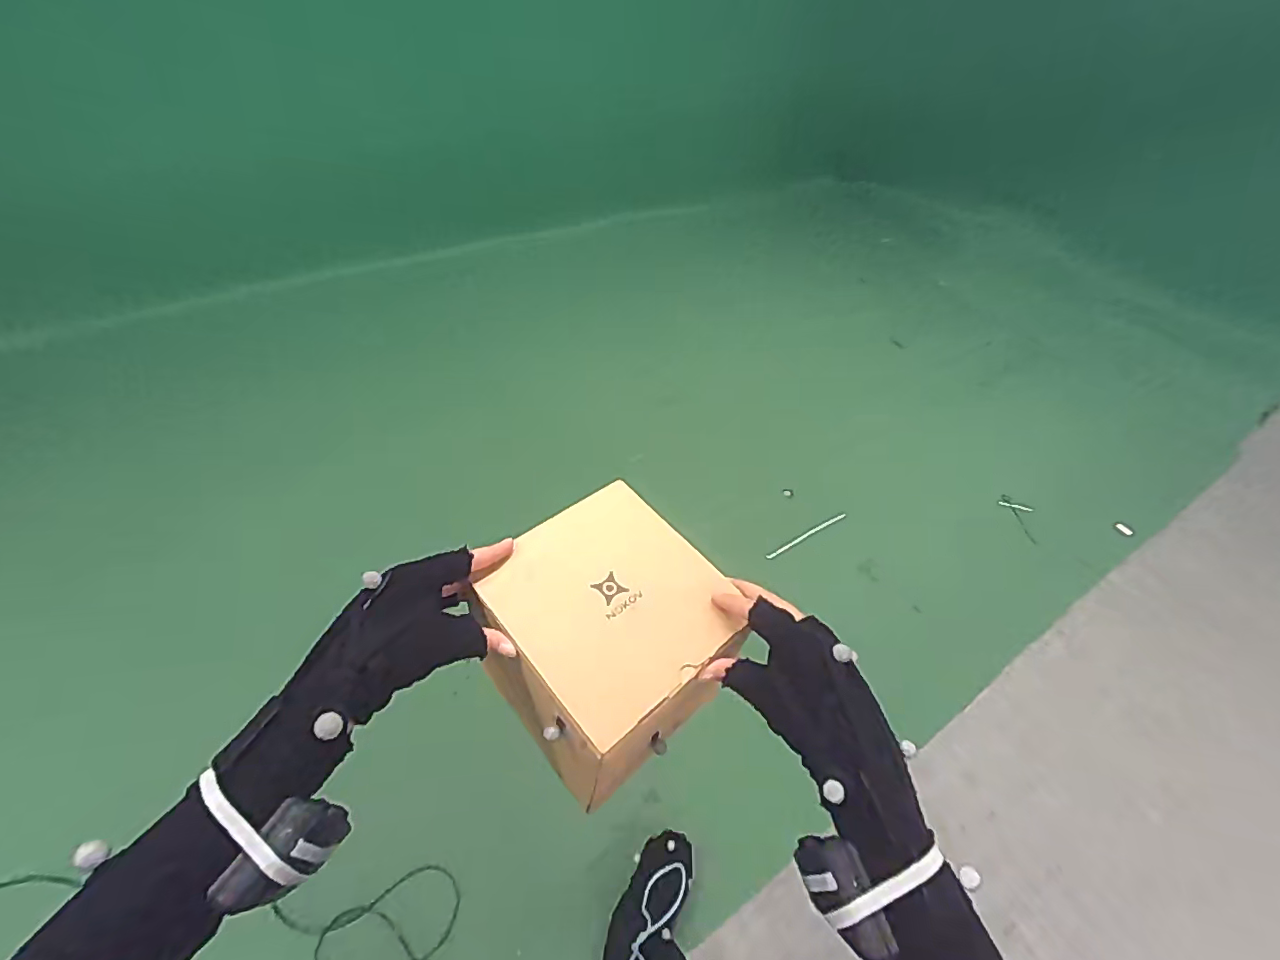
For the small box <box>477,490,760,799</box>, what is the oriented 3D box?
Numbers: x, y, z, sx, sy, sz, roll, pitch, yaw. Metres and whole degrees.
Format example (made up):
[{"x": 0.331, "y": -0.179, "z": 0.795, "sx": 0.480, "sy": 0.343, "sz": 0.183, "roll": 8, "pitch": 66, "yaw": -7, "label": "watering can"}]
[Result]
[{"x": -0.029, "y": 0.147, "z": 0.491, "sx": 0.168, "sy": 0.176, "sz": 0.179, "roll": -30, "pitch": 60, "yaw": -32, "label": "small box"}]
